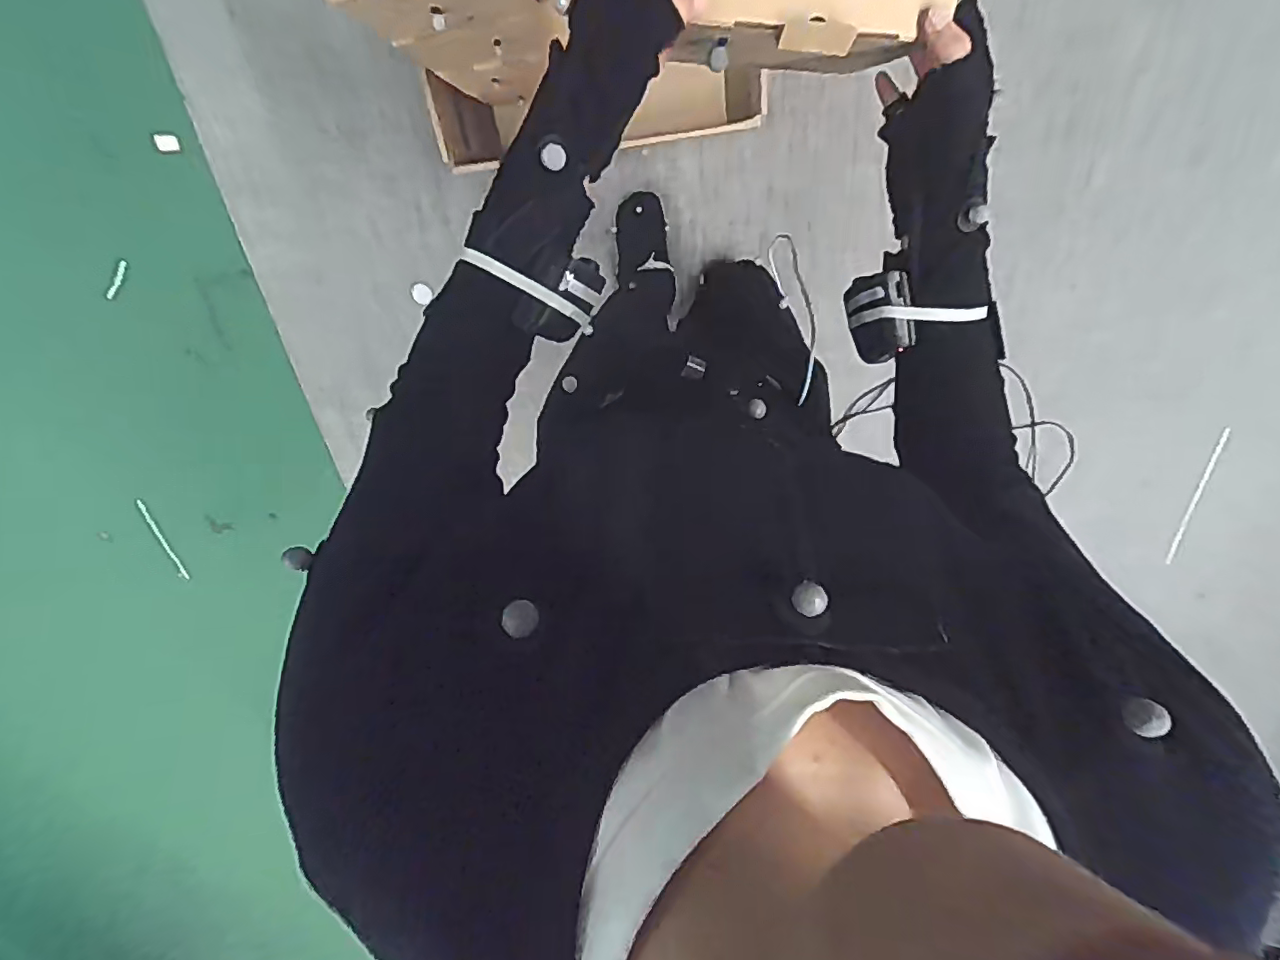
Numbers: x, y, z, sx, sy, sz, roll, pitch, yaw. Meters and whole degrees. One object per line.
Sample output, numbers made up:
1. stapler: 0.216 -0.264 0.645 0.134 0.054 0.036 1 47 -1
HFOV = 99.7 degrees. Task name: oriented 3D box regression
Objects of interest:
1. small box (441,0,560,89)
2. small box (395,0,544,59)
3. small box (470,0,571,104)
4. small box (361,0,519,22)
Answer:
1. small box: -0.226 -0.739 0.840 0.168 0.176 0.179 -7 117 3
2. small box: -0.229 -0.669 0.692 0.168 0.176 0.179 -9 117 3
3. small box: -0.225 -0.813 0.985 0.168 0.176 0.179 -5 117 3
4. small box: -0.227 -0.597 0.545 0.168 0.176 0.179 -9 118 3
